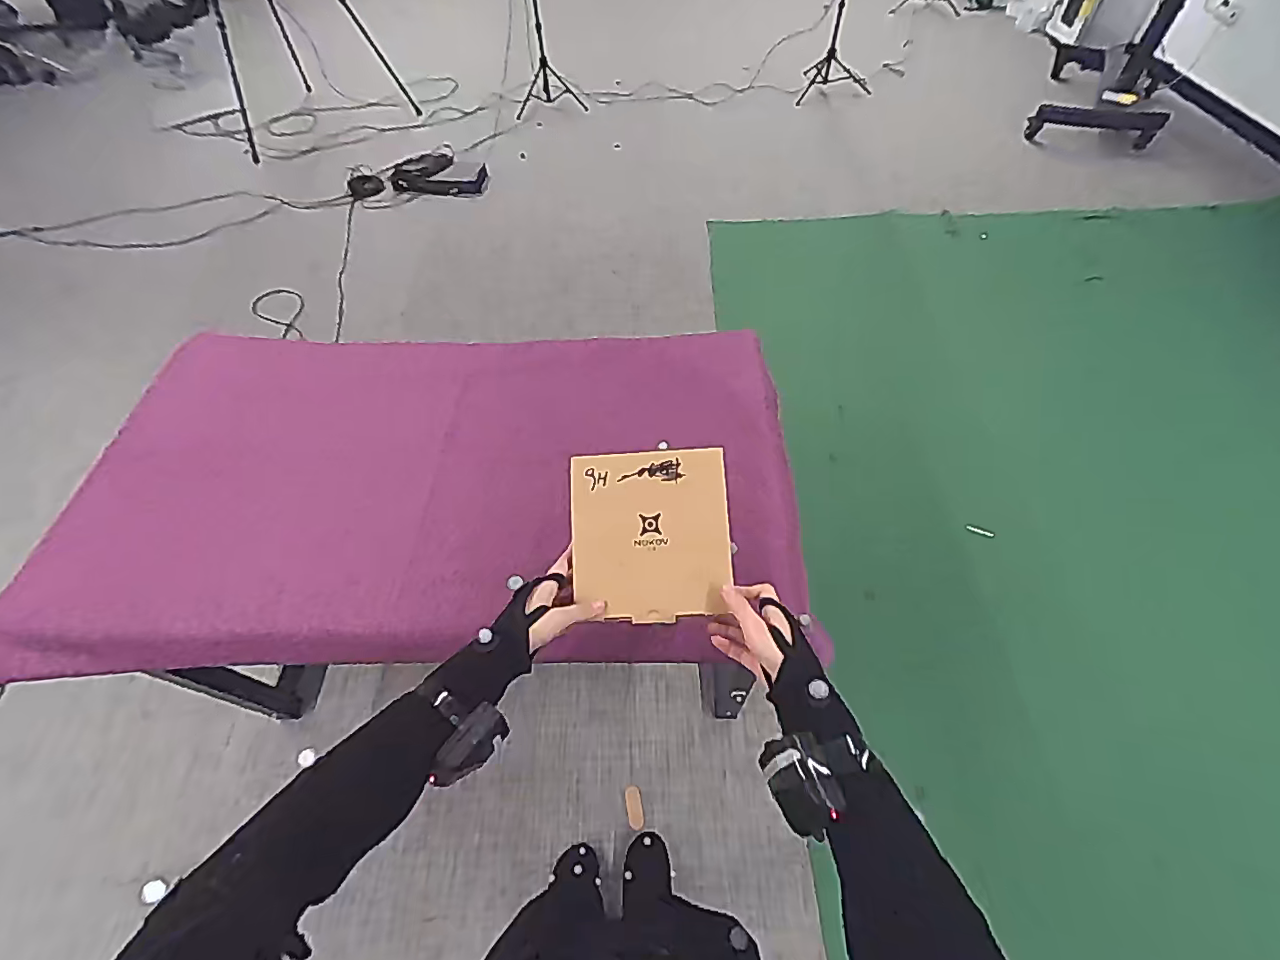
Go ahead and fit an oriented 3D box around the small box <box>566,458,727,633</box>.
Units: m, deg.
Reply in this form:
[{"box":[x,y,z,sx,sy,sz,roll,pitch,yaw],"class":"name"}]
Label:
[{"box":[0.012,0.079,0.639,0.168,0.176,0.179,-3,79,4],"class":"small box"}]
